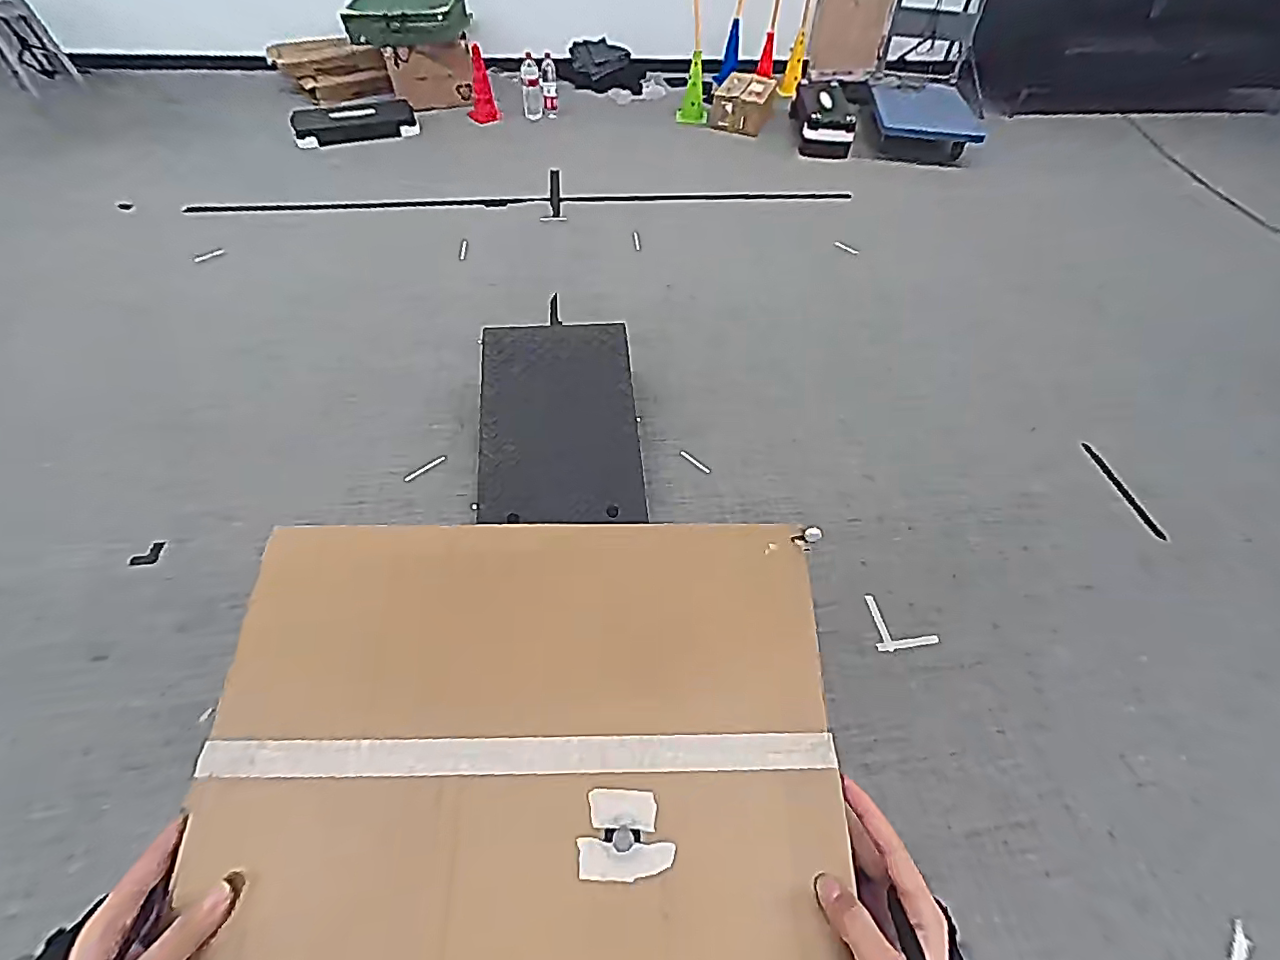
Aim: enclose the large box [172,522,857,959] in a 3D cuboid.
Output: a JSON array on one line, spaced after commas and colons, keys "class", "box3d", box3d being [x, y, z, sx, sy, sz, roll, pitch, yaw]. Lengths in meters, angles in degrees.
[{"class": "large box", "box3d": [-0.077, 0.237, 0.498, 0.408, 0.320, 0.320, 0, 66, -1]}]
